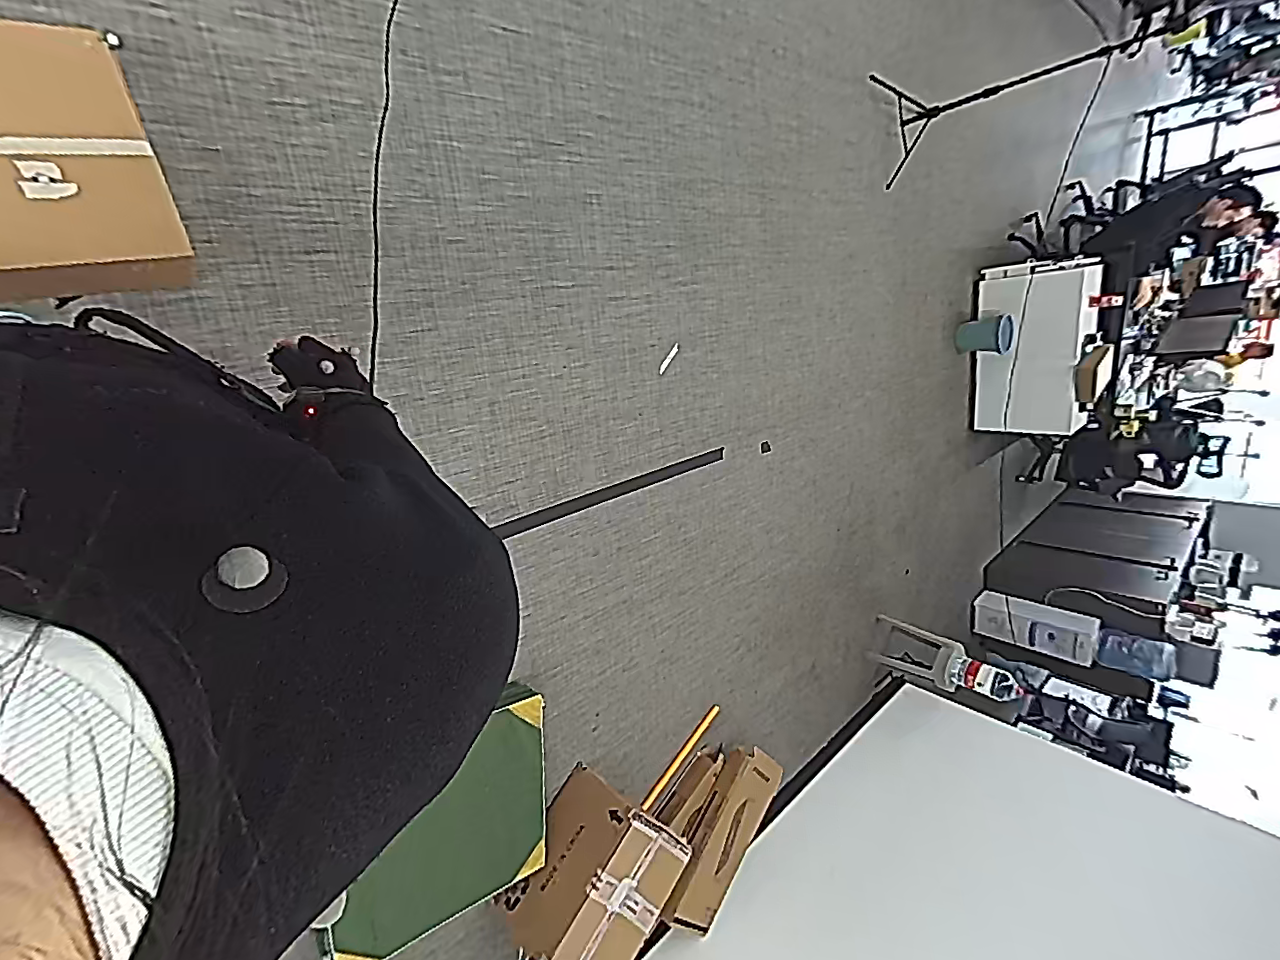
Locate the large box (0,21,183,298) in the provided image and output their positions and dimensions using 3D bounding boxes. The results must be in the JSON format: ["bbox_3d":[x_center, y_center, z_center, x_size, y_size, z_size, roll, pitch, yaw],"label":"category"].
[{"bbox_3d":[-1.021,-0.471,0.842,0.408,0.320,0.320,-24,112,-36],"label":"large box"}]
